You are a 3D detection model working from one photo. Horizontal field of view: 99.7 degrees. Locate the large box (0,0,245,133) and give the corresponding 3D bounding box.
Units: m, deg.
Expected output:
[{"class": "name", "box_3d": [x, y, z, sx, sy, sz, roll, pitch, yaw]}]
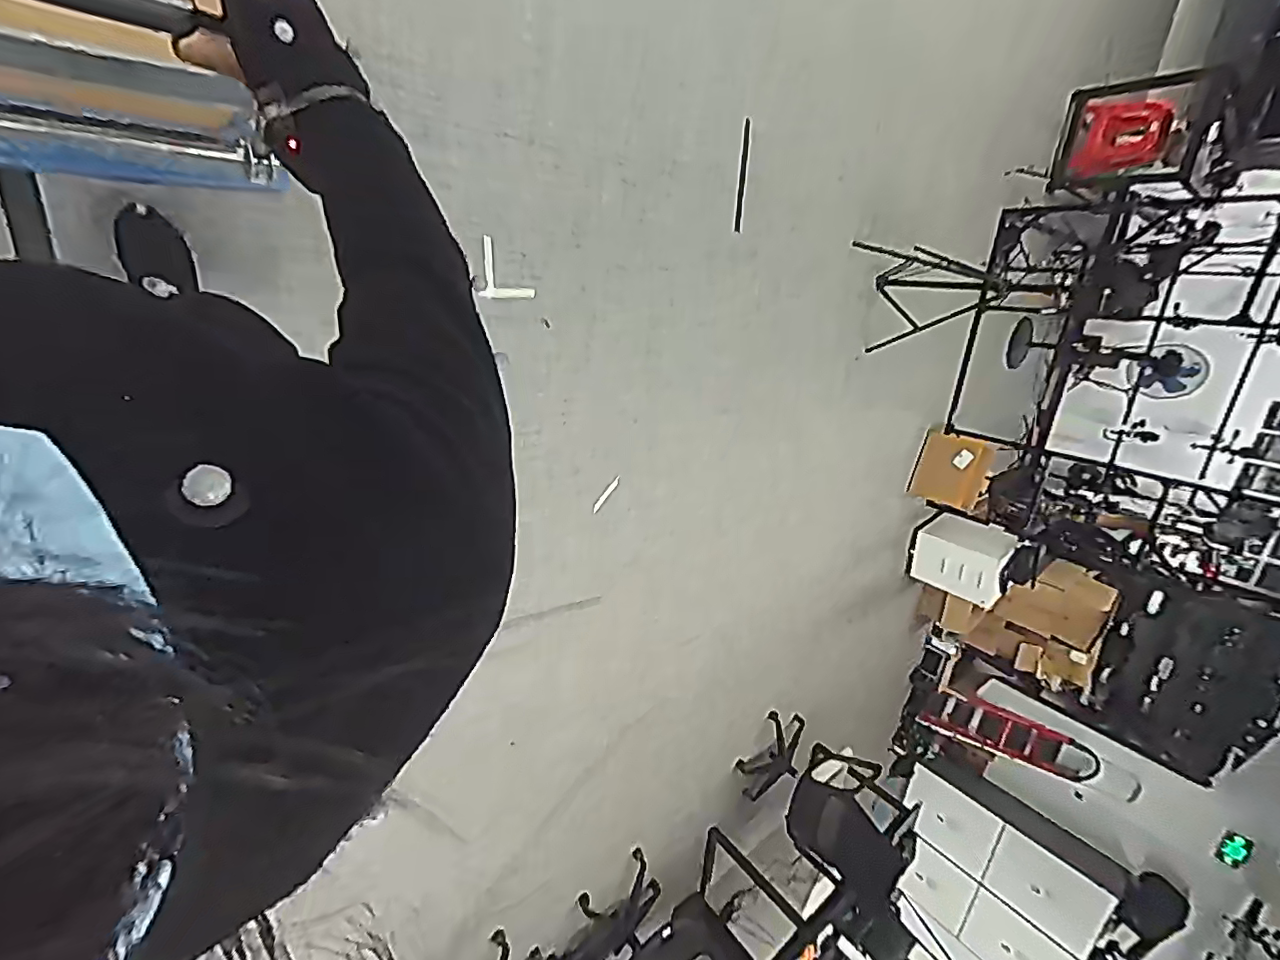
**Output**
[{"class": "large box", "box_3d": [-0.770, -0.657, 0.654, 0.408, 0.320, 0.320, -14, 116, -39]}]
